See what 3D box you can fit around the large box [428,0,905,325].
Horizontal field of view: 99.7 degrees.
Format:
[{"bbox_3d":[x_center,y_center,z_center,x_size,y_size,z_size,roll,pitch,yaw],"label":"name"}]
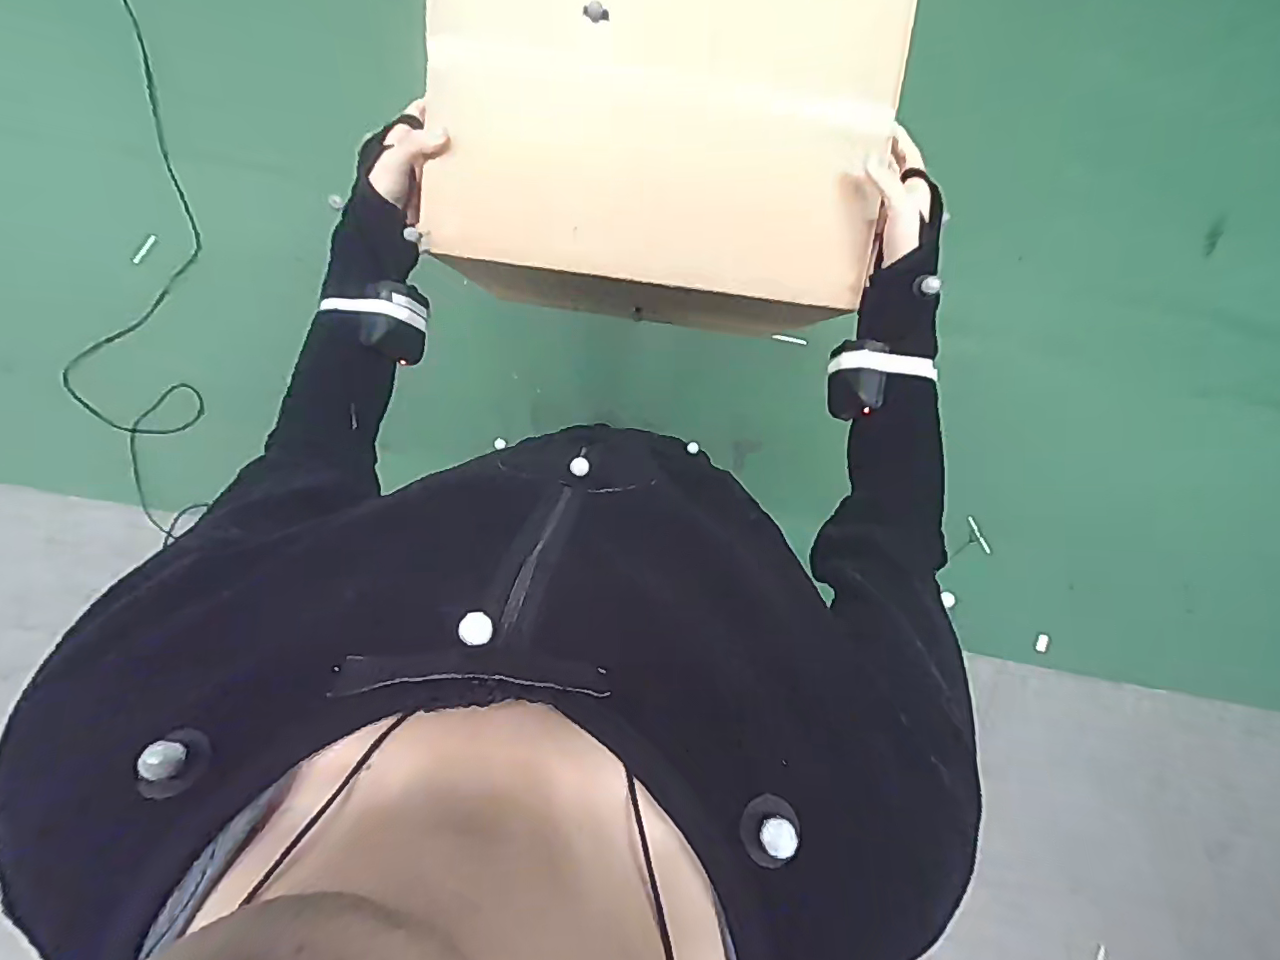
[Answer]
[{"bbox_3d":[0.018,-0.365,0.620,0.408,0.320,0.320,7,100,-2],"label":"large box"}]
